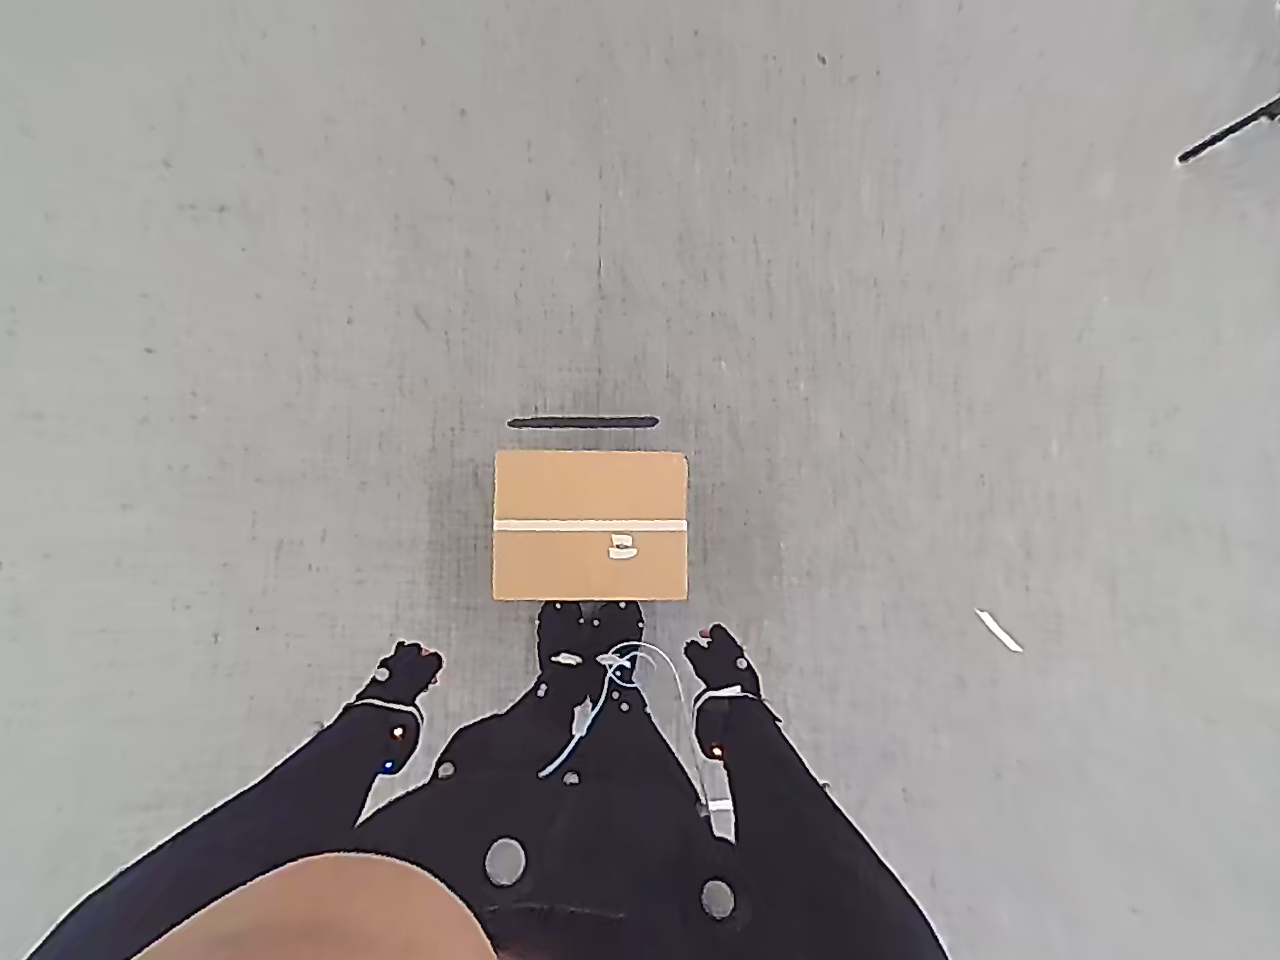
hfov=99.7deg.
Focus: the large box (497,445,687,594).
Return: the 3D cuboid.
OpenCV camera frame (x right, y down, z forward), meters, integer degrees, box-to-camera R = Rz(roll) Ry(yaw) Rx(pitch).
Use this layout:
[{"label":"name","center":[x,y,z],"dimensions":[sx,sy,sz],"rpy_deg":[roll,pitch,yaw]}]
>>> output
[{"label":"large box","center":[-0.111,0.092,1.288],"dimensions":[0.408,0.320,0.320],"rpy_deg":[1,87,-4]}]
